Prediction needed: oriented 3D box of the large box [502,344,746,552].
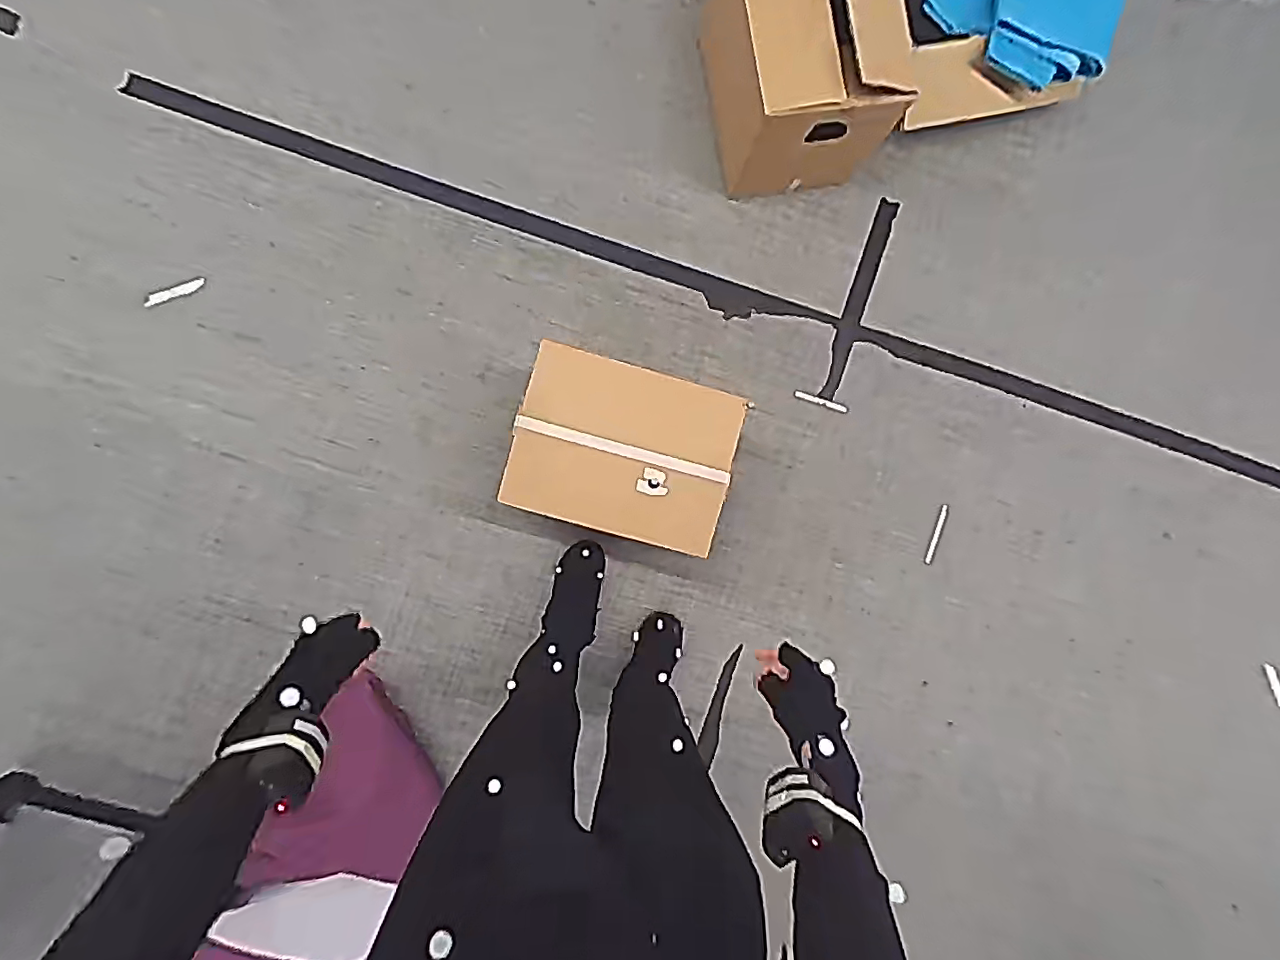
[{"bbox_3d":[-0.040,-0.056,1.151,0.408,0.320,0.320,15,89,-5],"label":"large box"}]
